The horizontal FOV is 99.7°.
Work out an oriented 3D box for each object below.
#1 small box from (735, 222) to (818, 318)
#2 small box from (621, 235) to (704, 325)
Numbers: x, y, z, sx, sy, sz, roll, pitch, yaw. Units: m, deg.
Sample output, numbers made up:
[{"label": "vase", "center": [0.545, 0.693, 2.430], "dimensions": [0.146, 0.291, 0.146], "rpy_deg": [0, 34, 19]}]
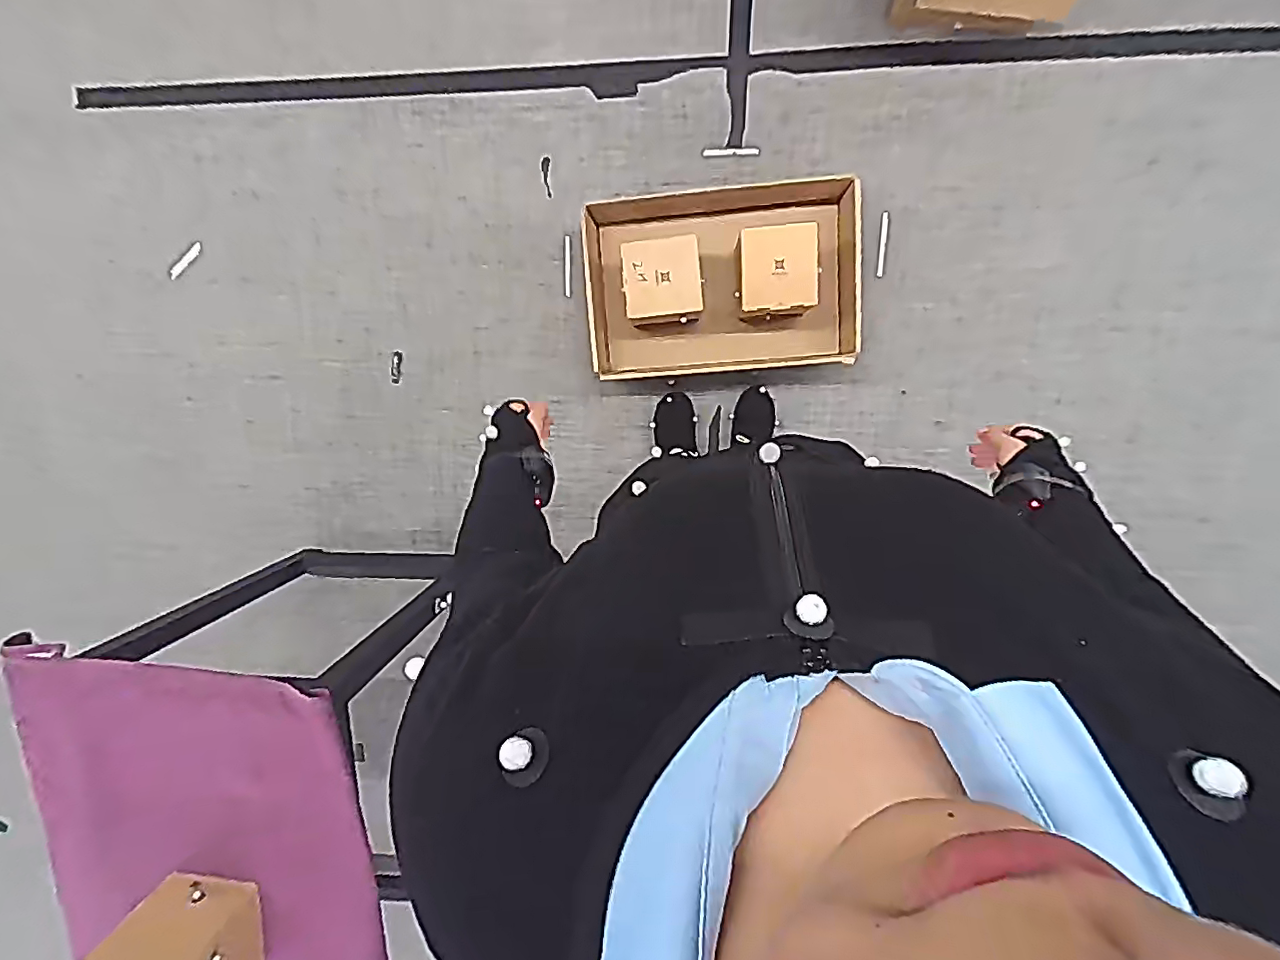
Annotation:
[{"label": "small box", "center": [0.313, -0.483, 1.263], "dimensions": [0.168, 0.176, 0.179], "rpy_deg": [-3, 101, 6]}, {"label": "small box", "center": [0.055, -0.468, 1.286], "dimensions": [0.179, 0.176, 0.168], "rpy_deg": [-5, 100, 5]}]
